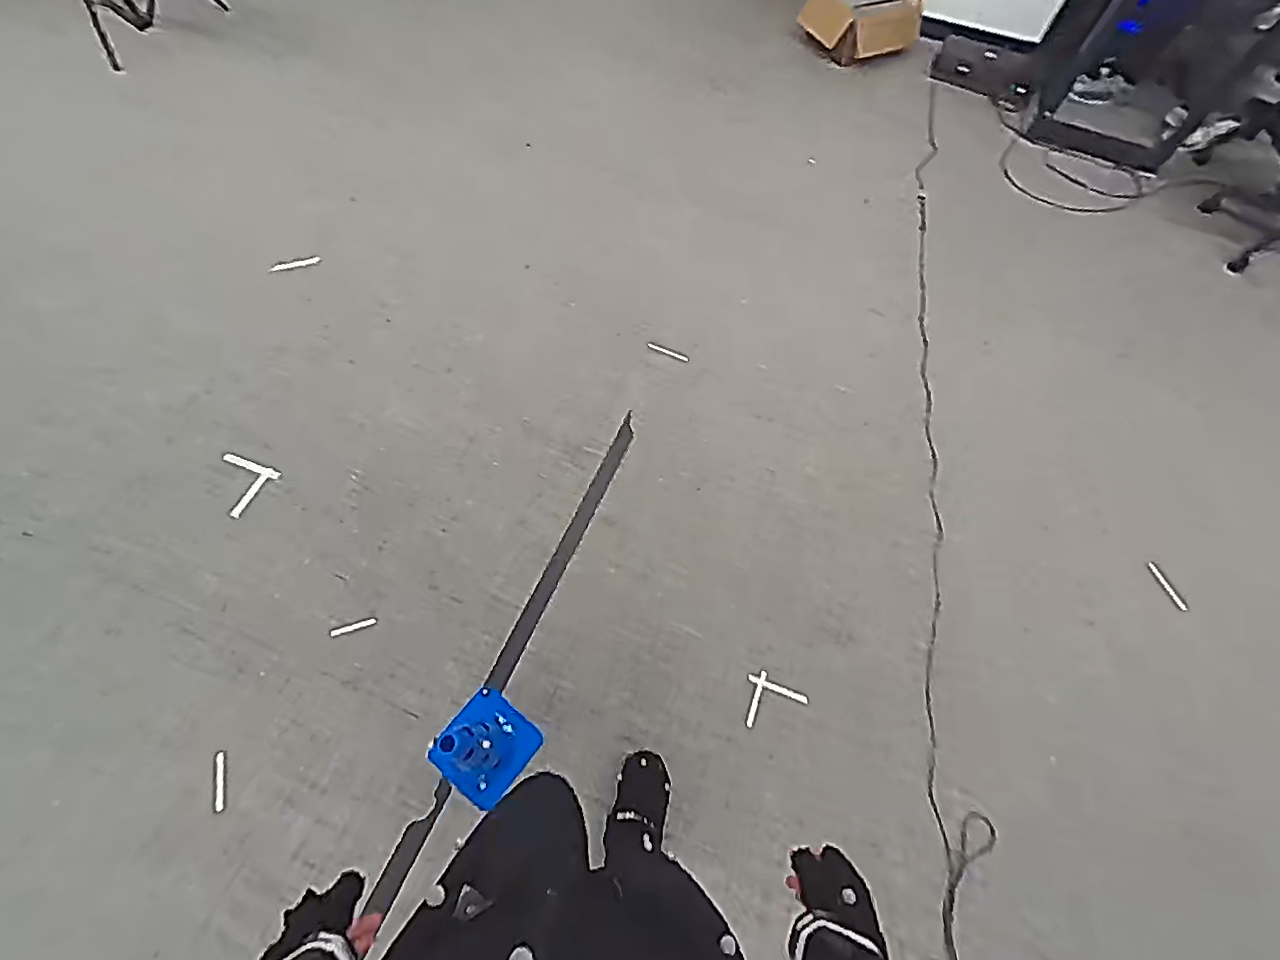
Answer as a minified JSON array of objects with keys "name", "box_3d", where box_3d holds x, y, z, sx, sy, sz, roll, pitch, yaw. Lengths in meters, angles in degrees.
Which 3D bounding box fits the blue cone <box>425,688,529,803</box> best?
[{"name":"blue cone","box_3d":[-0.362,0.535,1.104,0.192,0.380,0.193,37,66,15]}]
